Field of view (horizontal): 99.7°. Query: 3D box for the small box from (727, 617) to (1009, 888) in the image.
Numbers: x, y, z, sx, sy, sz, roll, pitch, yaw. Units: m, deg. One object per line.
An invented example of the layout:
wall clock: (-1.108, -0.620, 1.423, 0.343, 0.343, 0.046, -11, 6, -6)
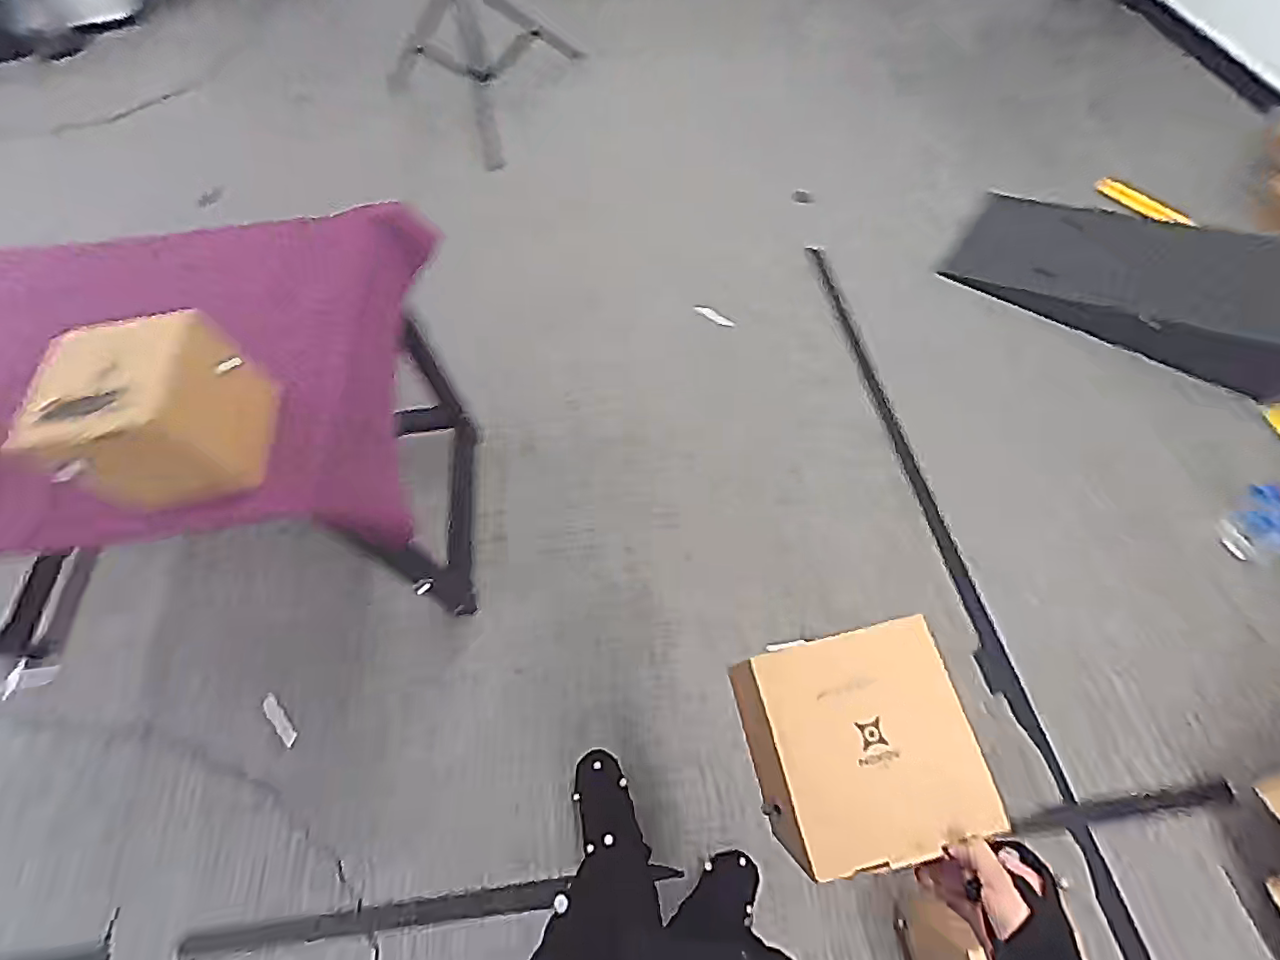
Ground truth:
small box: (0.194, 0.247, 0.523, 0.168, 0.176, 0.179, -13, 67, -5)

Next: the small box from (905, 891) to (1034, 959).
small box: (0.600, 0.860, 0.963, 0.179, 0.176, 0.168, -8, 63, -1)

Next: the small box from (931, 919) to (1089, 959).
small box: (0.573, 0.792, 0.815, 0.168, 0.176, 0.179, -7, 63, 1)
